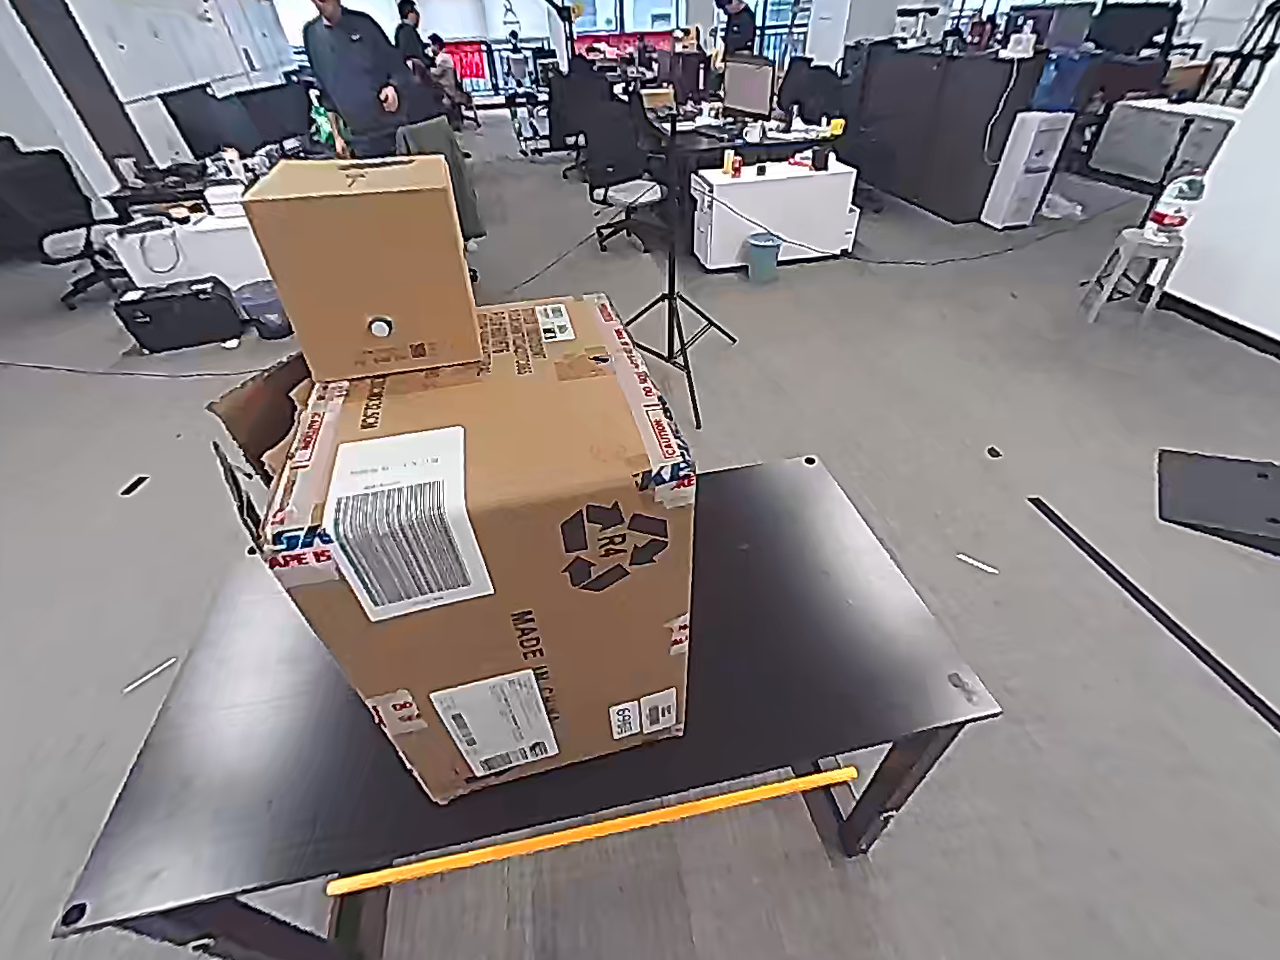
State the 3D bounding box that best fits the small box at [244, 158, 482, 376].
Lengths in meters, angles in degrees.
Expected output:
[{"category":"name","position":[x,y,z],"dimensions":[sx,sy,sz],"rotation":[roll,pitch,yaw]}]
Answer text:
[{"category":"small box","position":[-0.267,-0.227,0.568],"dimensions":[0.168,0.176,0.179],"rotation":[-11,40,-12]}]
